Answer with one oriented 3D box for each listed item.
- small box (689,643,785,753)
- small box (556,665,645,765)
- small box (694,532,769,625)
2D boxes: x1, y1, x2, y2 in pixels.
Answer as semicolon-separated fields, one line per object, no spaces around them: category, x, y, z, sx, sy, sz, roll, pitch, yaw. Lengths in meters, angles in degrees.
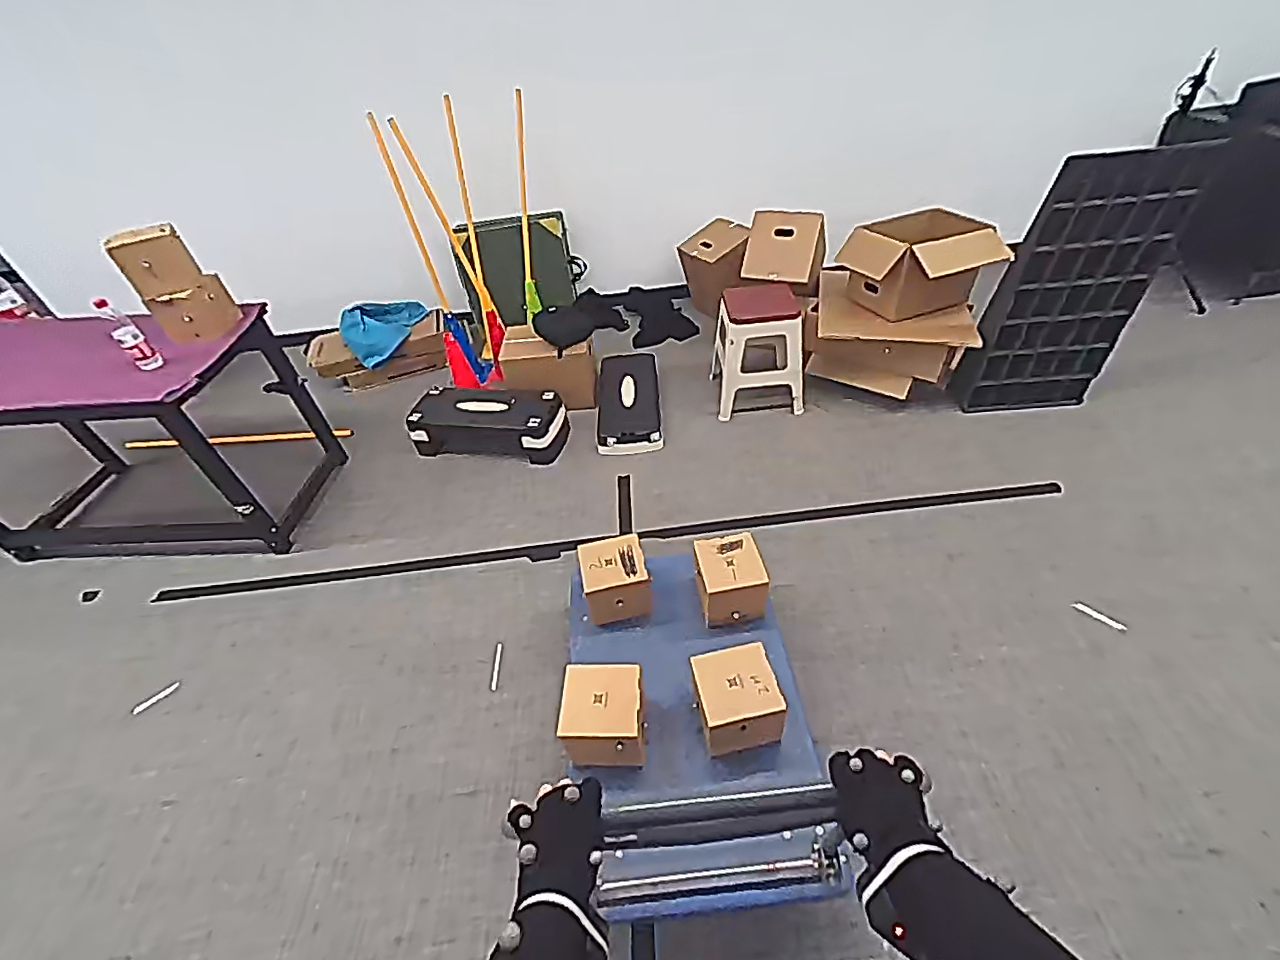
small box;0.219;0.506;1.248;0.179;0.176;0.168;-11;44;-4
small box;-0.083;0.545;1.251;0.179;0.176;0.168;-2;44;4
small box;0.244;0.273;1.491;0.168;0.176;0.179;-10;44;-2
